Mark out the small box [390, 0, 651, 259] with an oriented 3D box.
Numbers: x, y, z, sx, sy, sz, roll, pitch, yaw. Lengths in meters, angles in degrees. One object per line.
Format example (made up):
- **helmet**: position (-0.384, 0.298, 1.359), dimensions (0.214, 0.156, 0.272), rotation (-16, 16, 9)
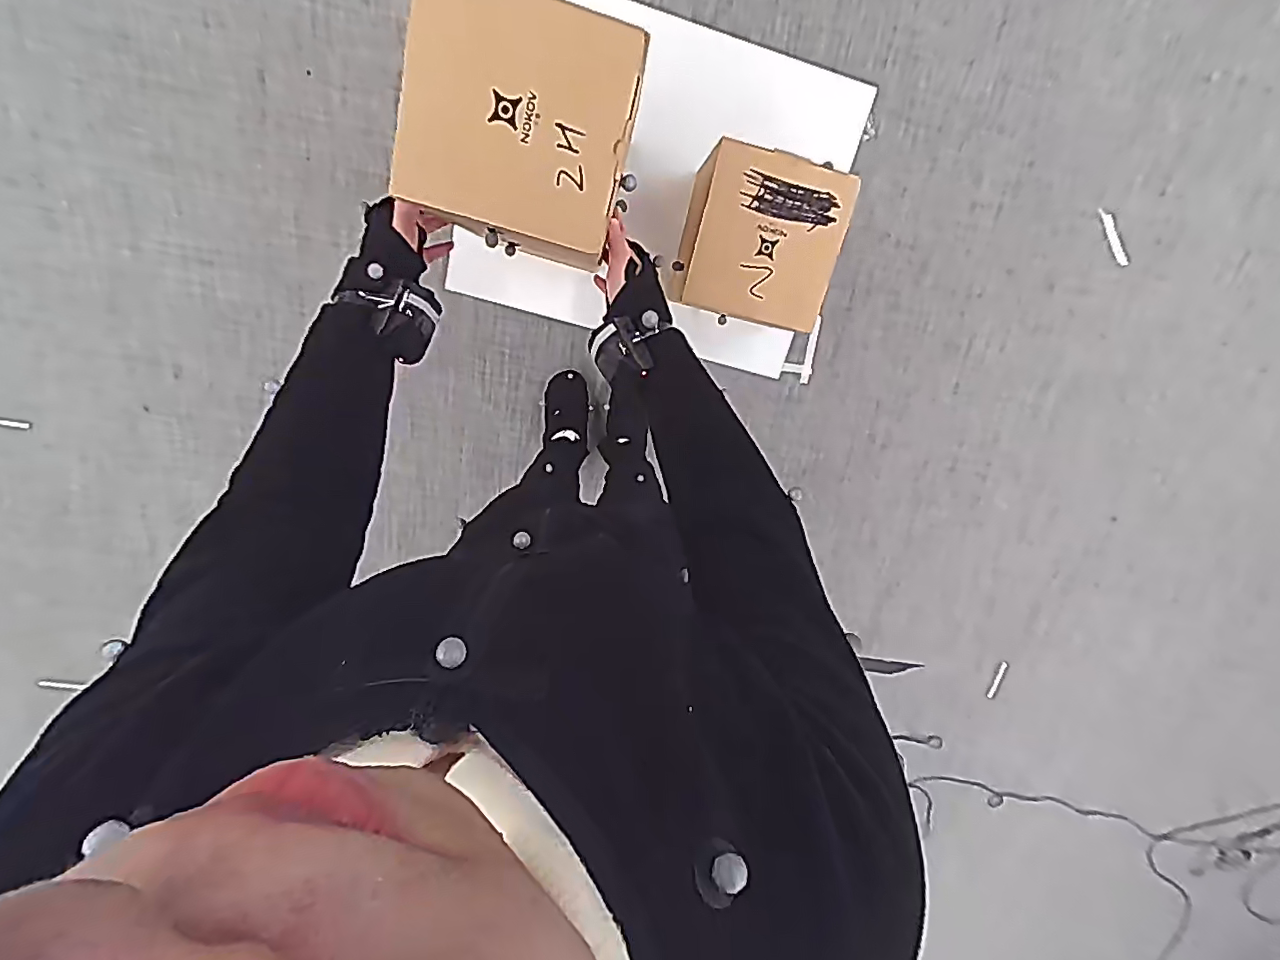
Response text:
- **small box**: position (-0.100, -0.310, 0.496), dimensions (0.179, 0.176, 0.168), rotation (14, 108, -8)
